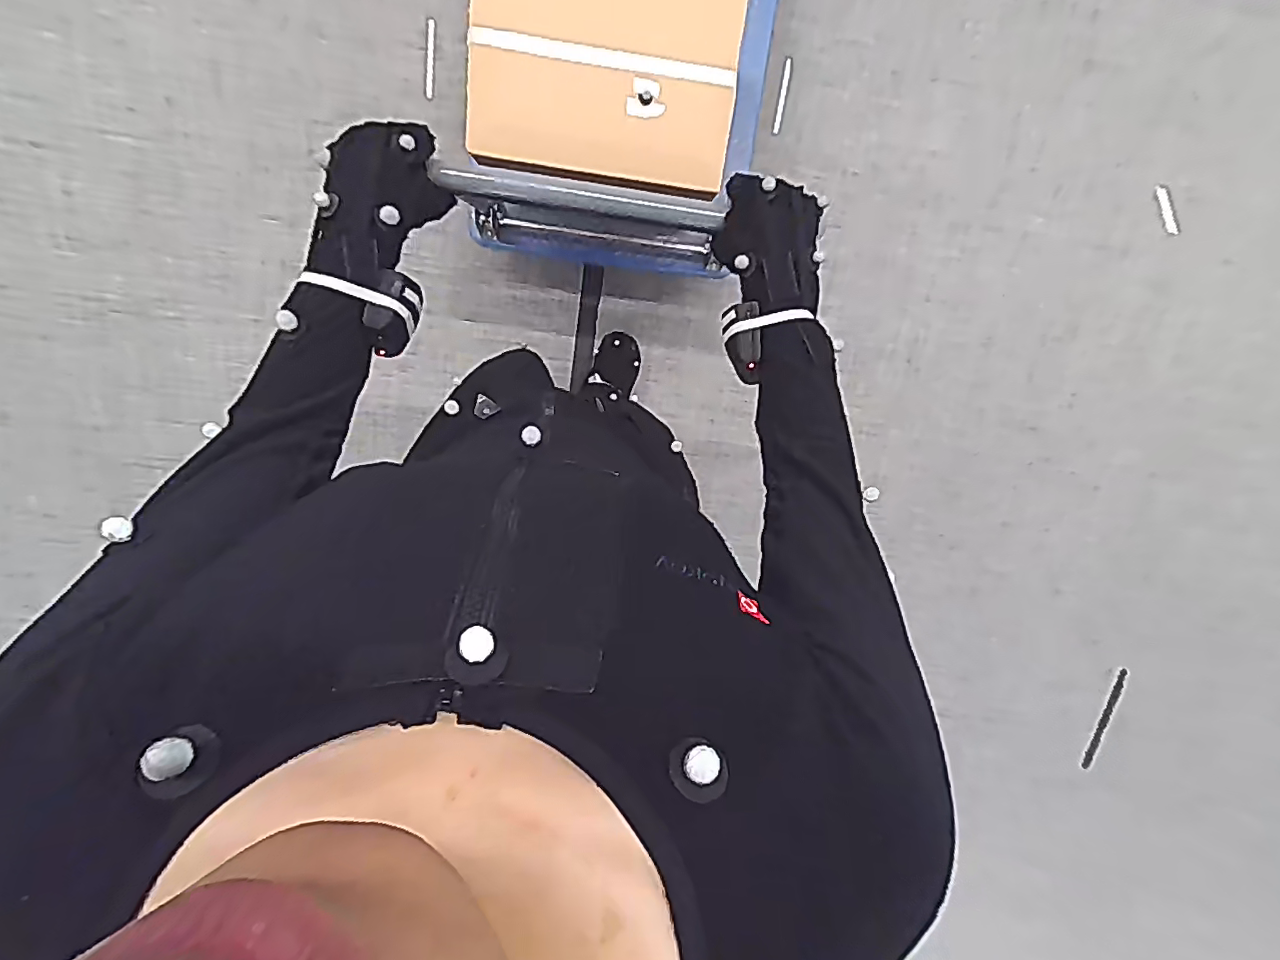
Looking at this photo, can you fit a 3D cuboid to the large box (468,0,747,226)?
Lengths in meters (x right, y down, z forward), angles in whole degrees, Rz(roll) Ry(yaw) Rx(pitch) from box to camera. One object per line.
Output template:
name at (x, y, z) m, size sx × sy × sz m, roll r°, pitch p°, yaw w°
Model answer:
large box at (-0.063, -0.662, 0.953) m, size 0.408 × 0.320 × 0.320 m, roll 6°, pitch 106°, yaw -6°
